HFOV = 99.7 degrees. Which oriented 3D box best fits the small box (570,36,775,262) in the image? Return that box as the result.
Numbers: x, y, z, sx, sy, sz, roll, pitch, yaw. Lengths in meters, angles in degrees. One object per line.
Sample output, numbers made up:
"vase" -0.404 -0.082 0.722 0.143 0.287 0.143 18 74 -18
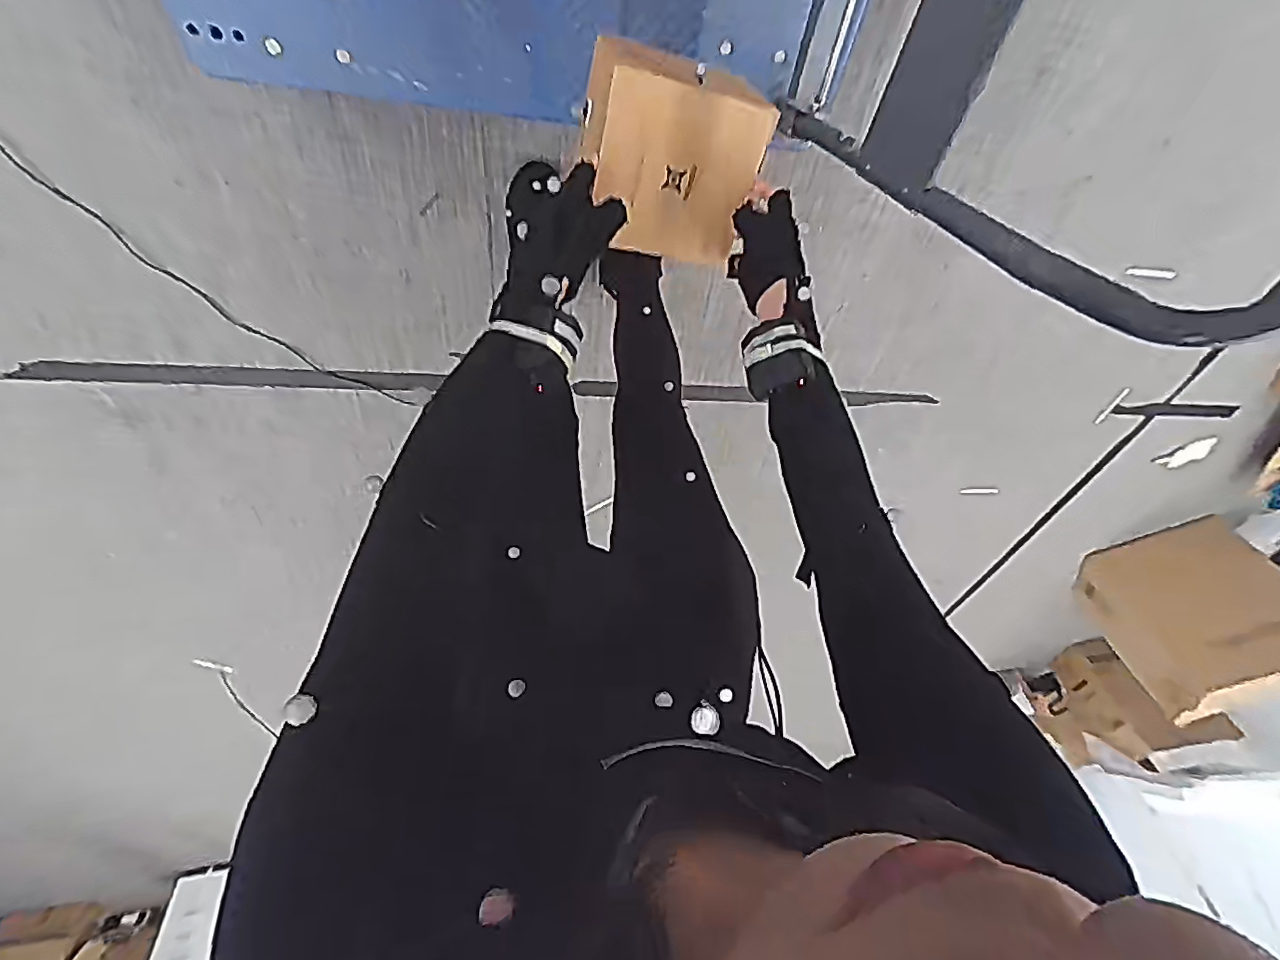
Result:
"small box" 0.023 -0.383 0.628 0.179 0.176 0.168 5 135 -17
